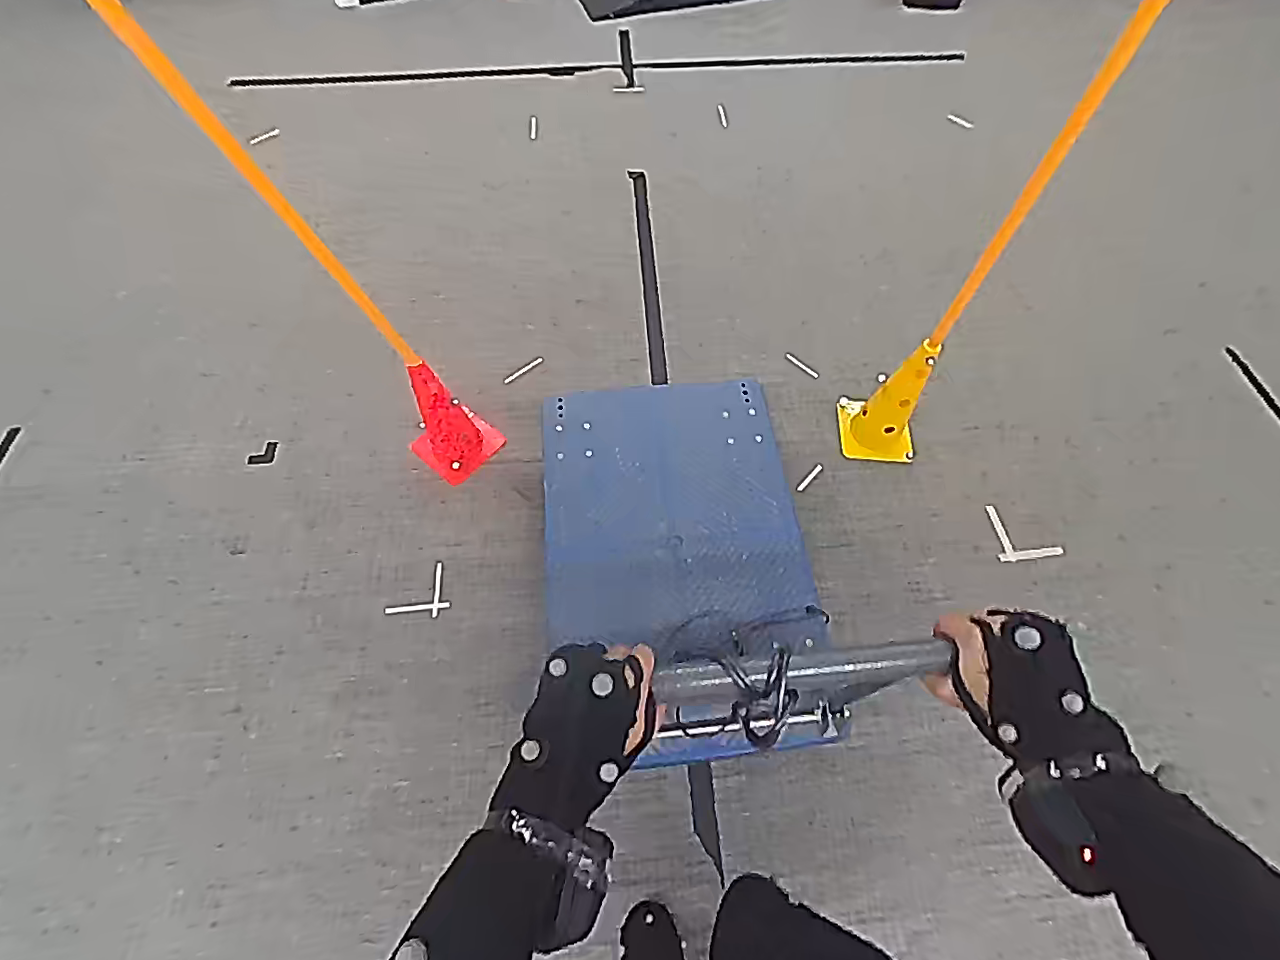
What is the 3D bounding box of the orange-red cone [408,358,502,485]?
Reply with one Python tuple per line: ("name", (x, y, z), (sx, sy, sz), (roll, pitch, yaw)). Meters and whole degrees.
("orange-red cone", (-0.508, -0.177, 1.364), (0.198, 0.360, 0.199), (38, 66, 17))
